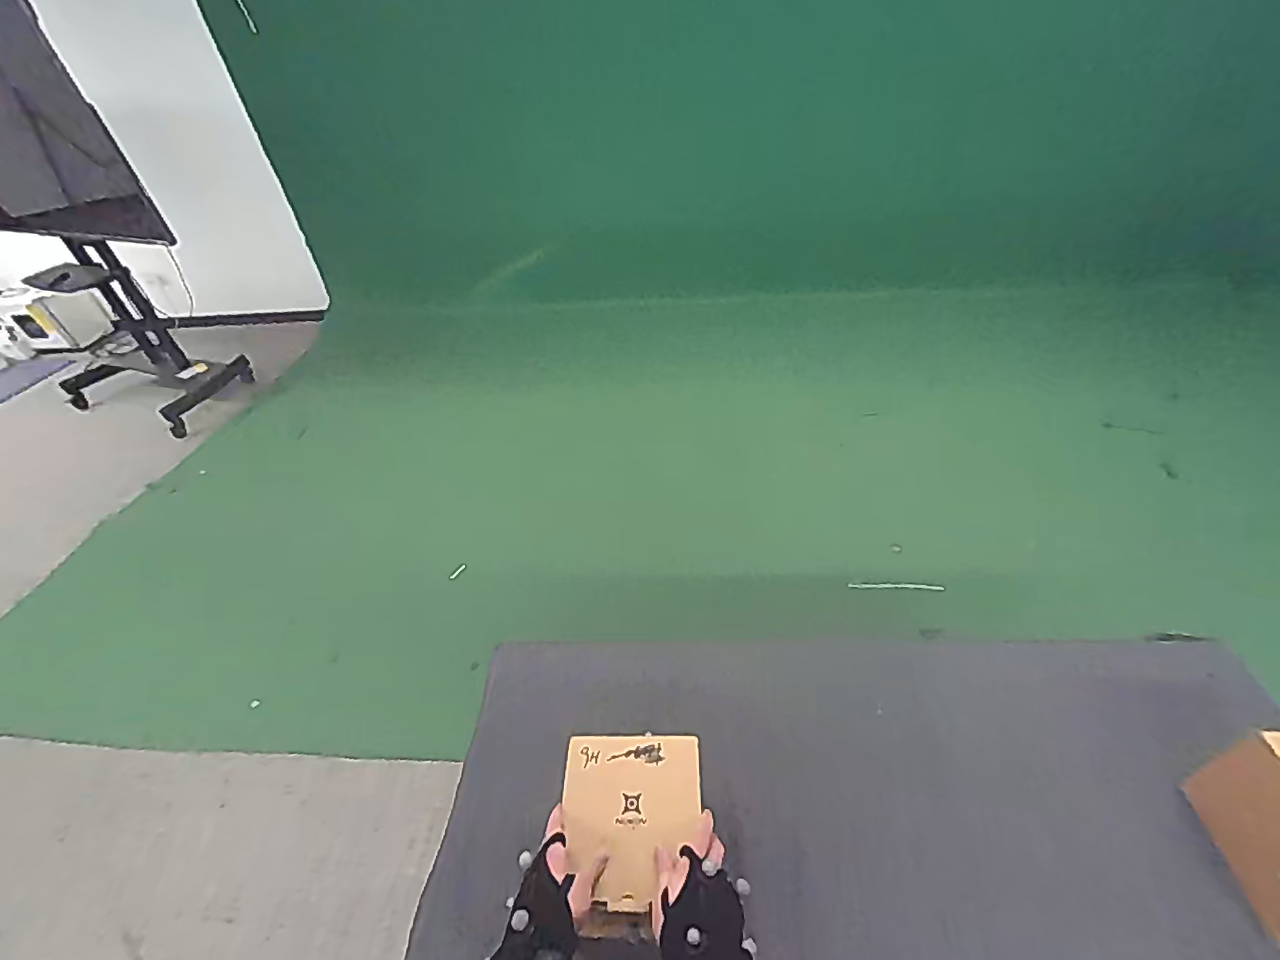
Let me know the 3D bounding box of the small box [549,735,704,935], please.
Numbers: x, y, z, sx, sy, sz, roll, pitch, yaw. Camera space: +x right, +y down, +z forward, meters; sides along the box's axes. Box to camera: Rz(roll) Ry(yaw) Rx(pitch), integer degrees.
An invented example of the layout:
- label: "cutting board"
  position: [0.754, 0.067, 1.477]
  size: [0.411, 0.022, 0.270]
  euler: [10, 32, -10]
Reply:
- label: "small box"
  position: [-0.006, 0.441, 0.673]
  size: [0.168, 0.176, 0.179]
  euler: [-2, 41, 3]

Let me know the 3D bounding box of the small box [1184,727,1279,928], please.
- label: "small box"
  position: [0.798, 0.409, 0.610]
  size: [0.168, 0.176, 0.179]
  euler: [1, 39, 7]
